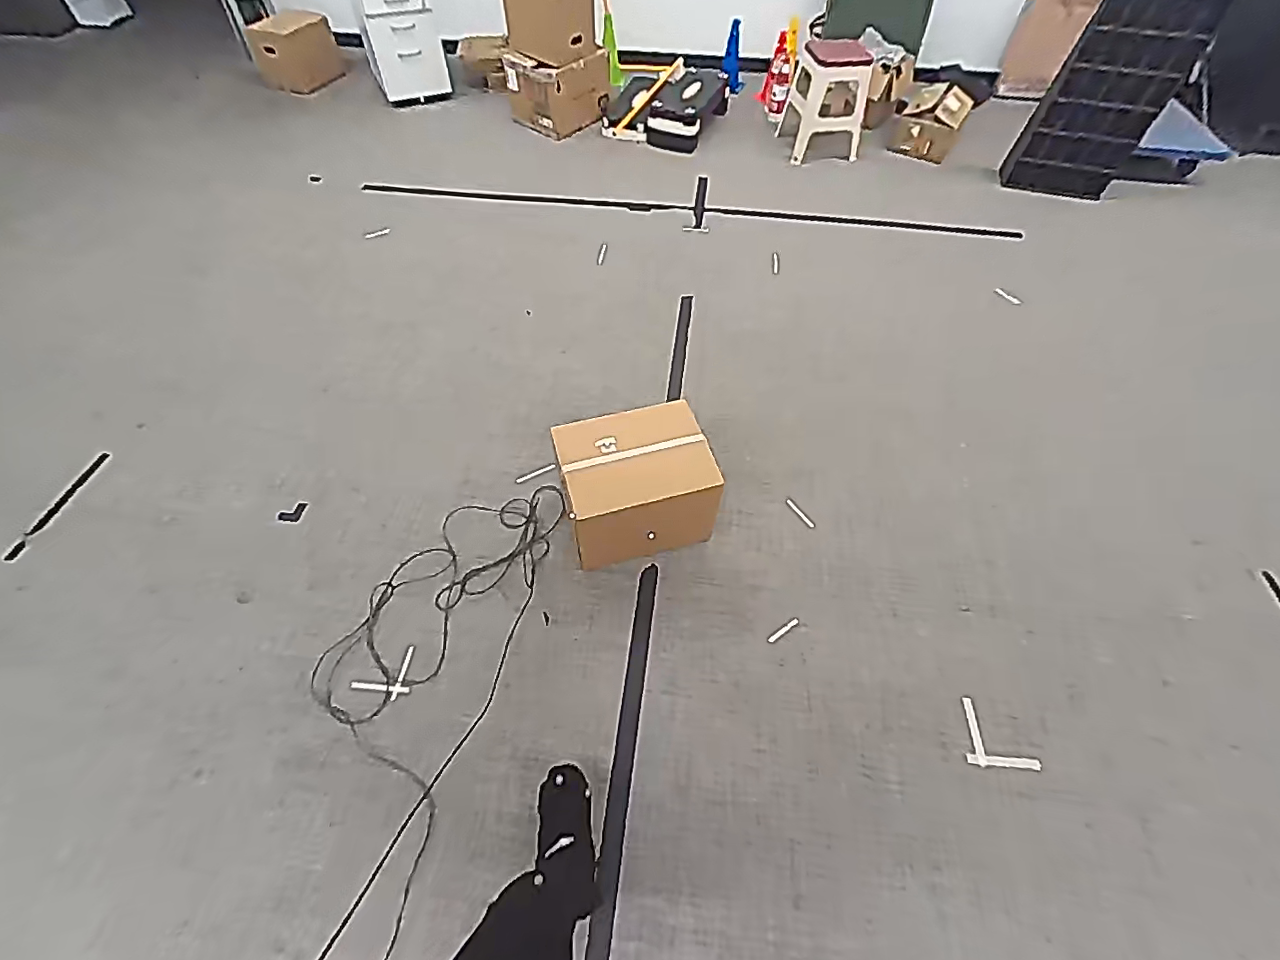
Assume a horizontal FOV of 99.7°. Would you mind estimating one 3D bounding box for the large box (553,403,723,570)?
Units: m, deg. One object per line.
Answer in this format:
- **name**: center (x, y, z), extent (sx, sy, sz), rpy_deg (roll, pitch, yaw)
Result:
- **large box**: center (-0.013, 0.023, 1.591), extent (0.408, 0.320, 0.320), rpy_deg (-14, 57, -10)
